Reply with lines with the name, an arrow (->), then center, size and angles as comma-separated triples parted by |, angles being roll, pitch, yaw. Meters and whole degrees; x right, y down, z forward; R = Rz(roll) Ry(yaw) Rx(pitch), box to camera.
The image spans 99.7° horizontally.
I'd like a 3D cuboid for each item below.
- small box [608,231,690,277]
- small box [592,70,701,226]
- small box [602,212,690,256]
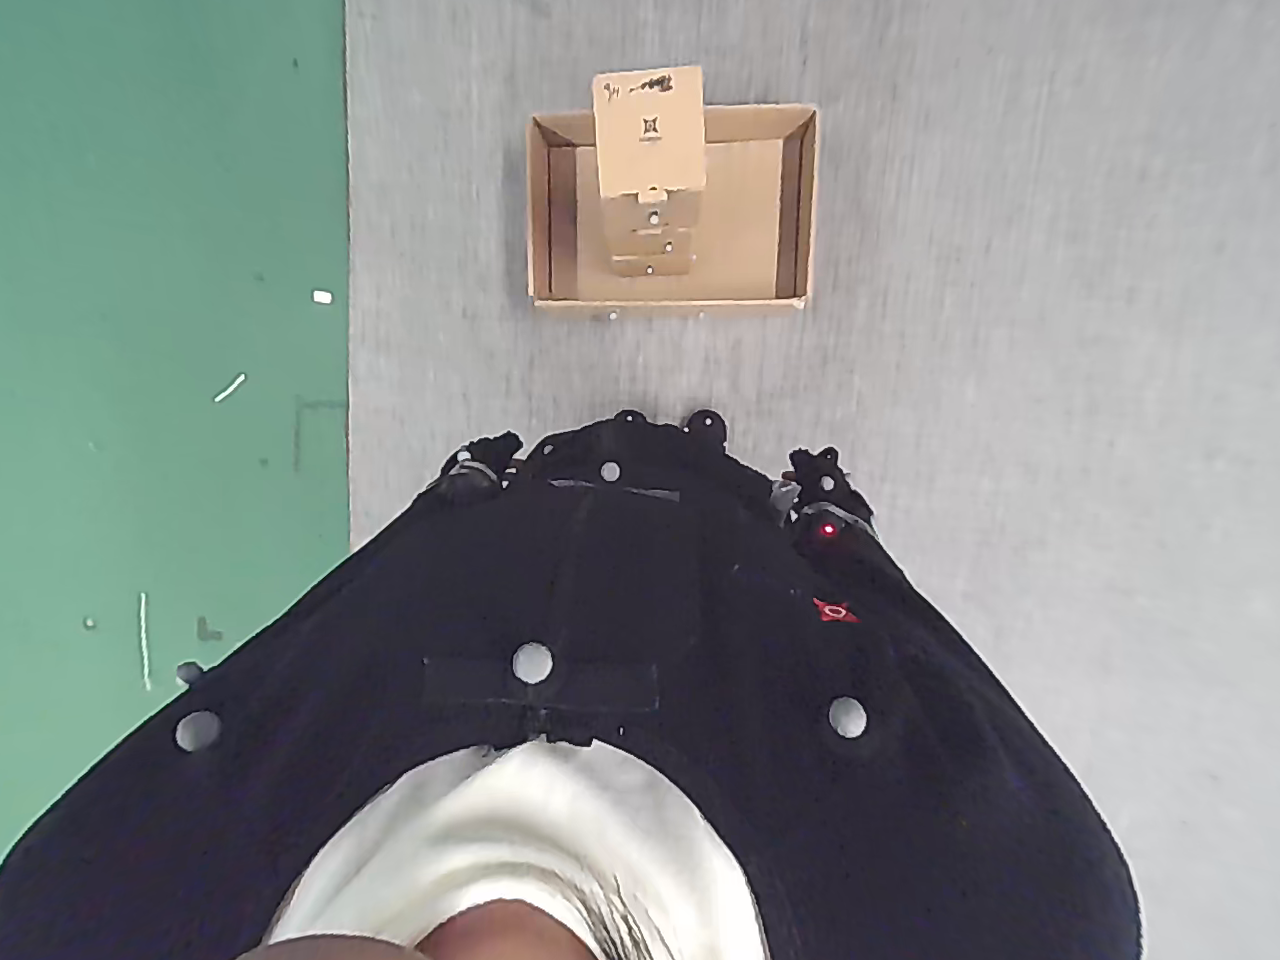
small box -> 0.024, -0.563, 1.217 | 0.179, 0.176, 0.168 | 0, 98, 5
small box -> 0.015, -0.531, 0.894 | 0.168, 0.176, 0.179 | -1, 99, 3
small box -> 0.017, -0.549, 1.057 | 0.168, 0.176, 0.179 | 1, 97, 2
